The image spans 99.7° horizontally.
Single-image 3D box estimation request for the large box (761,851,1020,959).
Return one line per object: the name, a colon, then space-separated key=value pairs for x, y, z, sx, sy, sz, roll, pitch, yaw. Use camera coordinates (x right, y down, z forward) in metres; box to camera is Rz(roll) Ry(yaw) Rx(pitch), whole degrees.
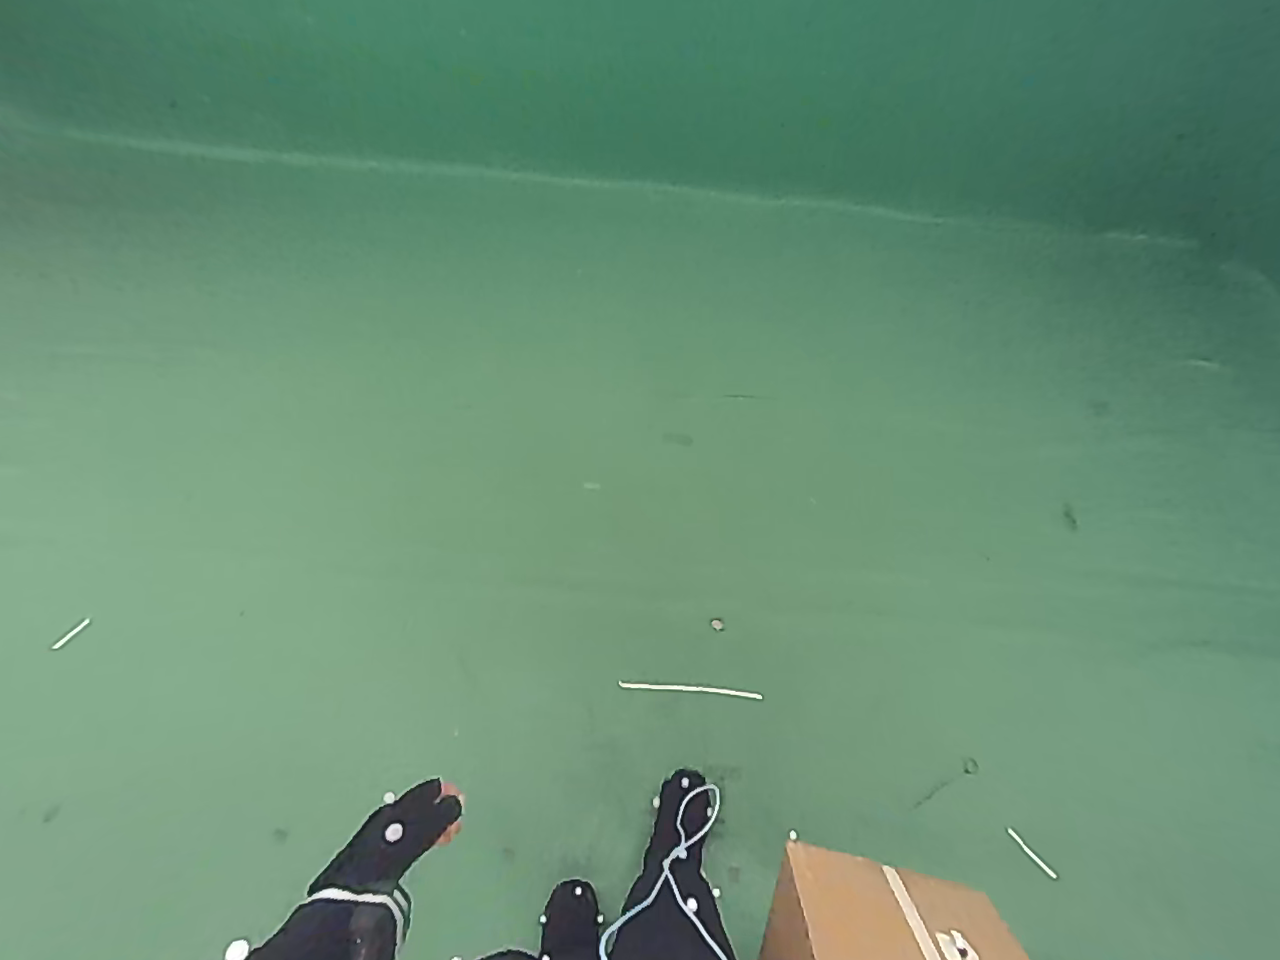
large box: x=0.332 y=0.772 z=0.656 sx=0.320 sy=0.408 sz=0.320 roll=13 pitch=93 yaw=4
